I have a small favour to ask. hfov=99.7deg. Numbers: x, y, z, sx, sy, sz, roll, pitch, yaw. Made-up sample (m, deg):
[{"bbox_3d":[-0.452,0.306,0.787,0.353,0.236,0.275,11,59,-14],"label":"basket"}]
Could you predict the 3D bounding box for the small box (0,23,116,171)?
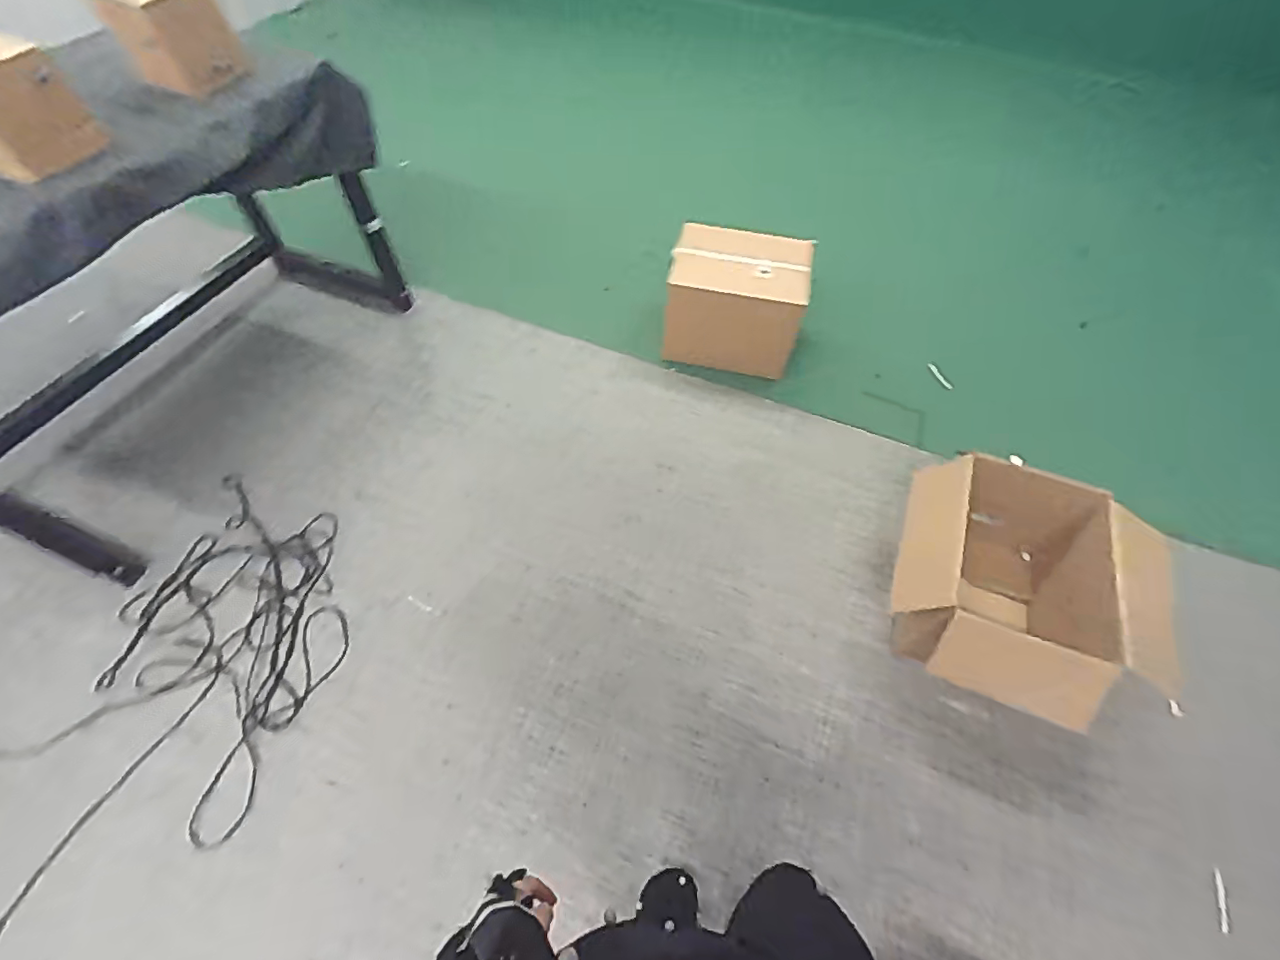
[{"bbox_3d":[-1.147,-0.699,0.990,0.168,0.176,0.179,21,58,12],"label":"small box"}]
